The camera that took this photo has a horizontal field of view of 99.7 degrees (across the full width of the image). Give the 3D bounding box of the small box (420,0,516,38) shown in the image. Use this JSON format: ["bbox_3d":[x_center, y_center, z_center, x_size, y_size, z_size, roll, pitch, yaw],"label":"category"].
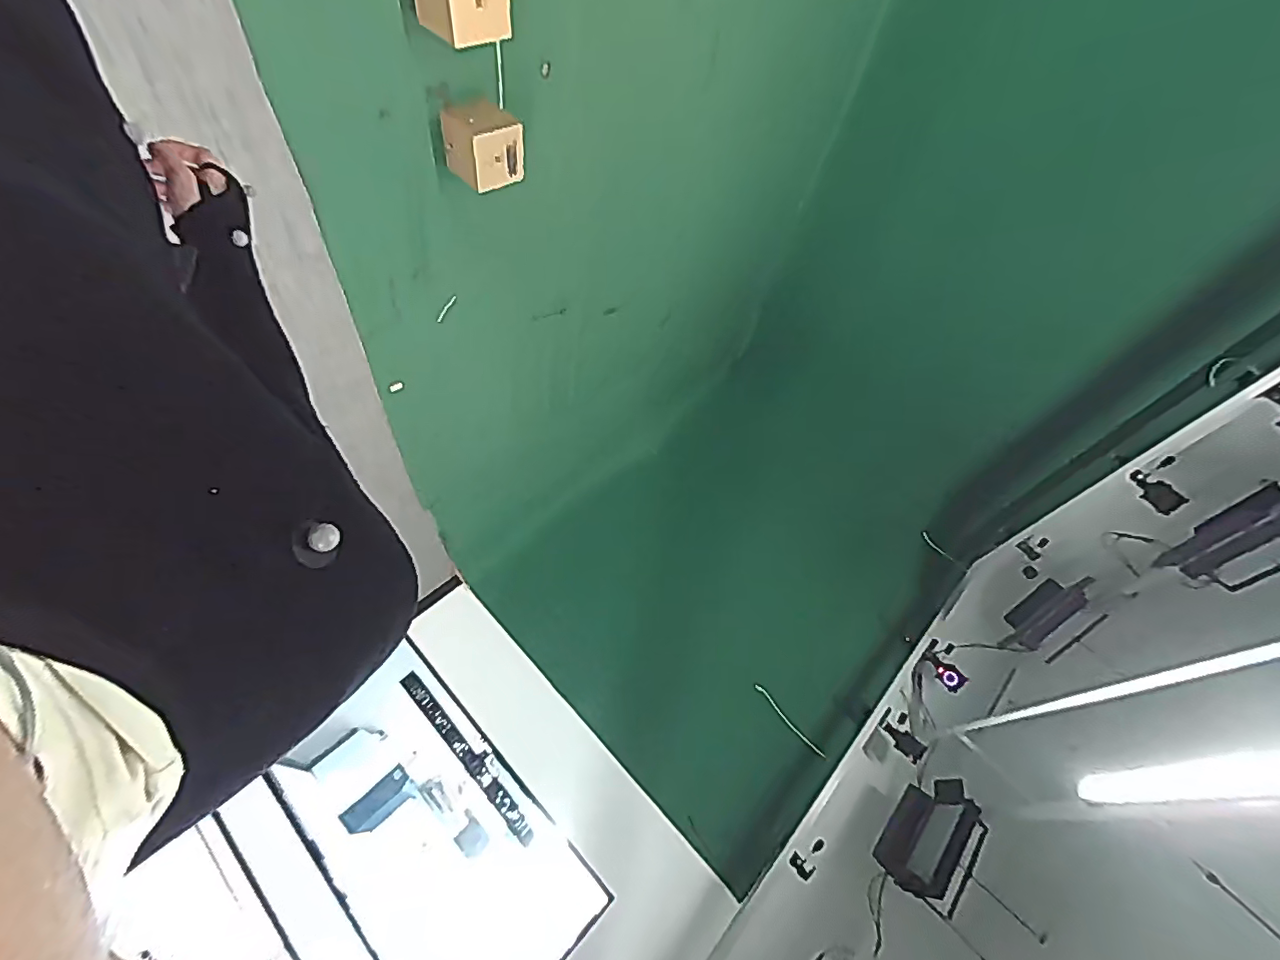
[{"bbox_3d":[-0.428,-1.216,1.312,0.179,0.176,0.168,-38,160,-27],"label":"small box"}]
